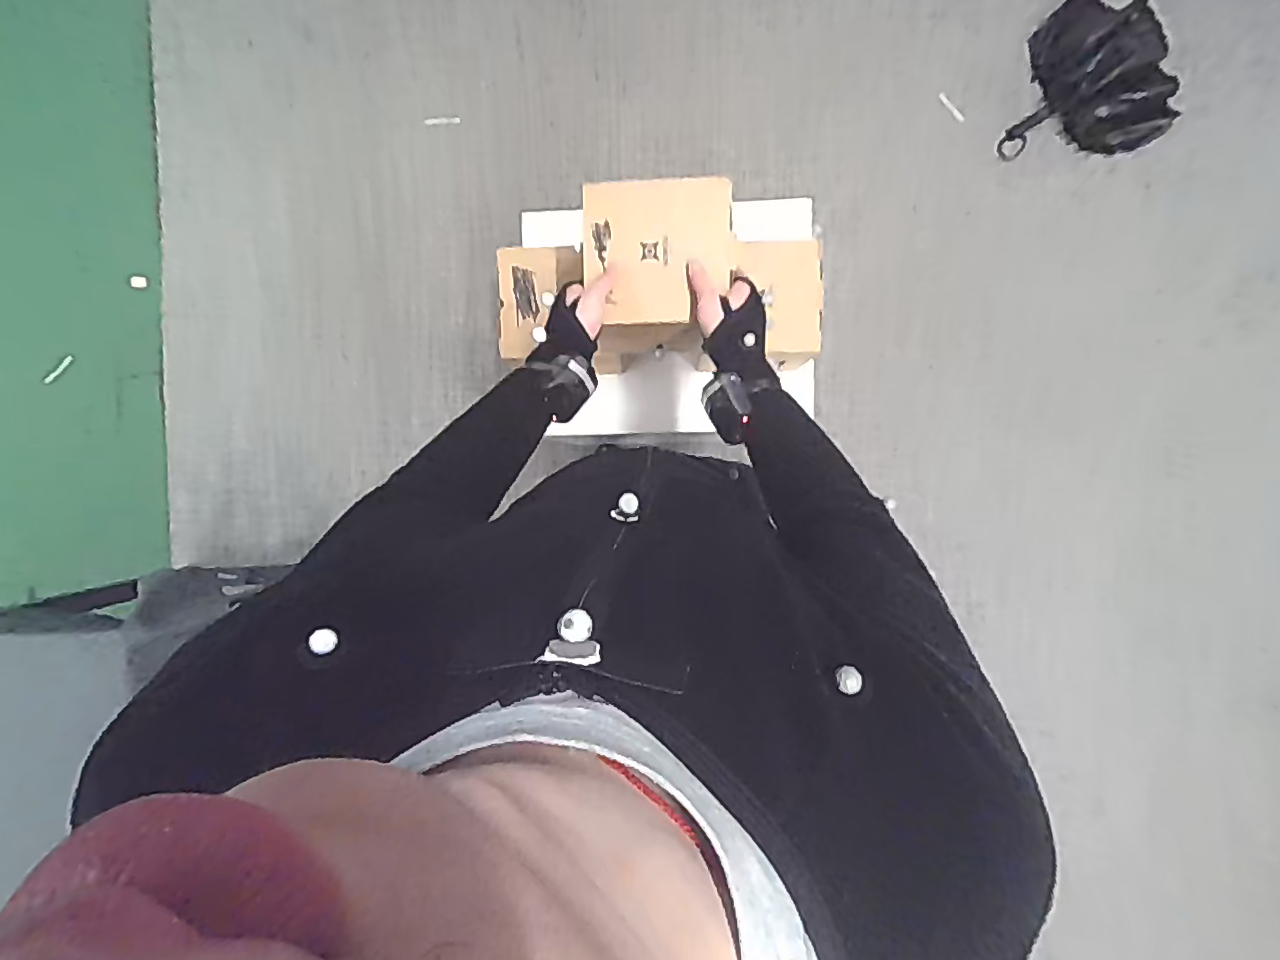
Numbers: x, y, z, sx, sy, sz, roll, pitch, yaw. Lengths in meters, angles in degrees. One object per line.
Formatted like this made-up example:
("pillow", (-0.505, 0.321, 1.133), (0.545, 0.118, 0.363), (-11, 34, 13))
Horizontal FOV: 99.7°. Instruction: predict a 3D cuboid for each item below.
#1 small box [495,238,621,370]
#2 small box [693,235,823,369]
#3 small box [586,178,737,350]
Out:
("small box", (-0.123, -0.271, 0.867), (0.179, 0.176, 0.168), (-1, 93, 0))
("small box", (0.177, -0.273, 0.858), (0.179, 0.176, 0.168), (0, 92, 3))
("small box", (0.025, -0.267, 0.701), (0.179, 0.176, 0.168), (0, 93, 1))
